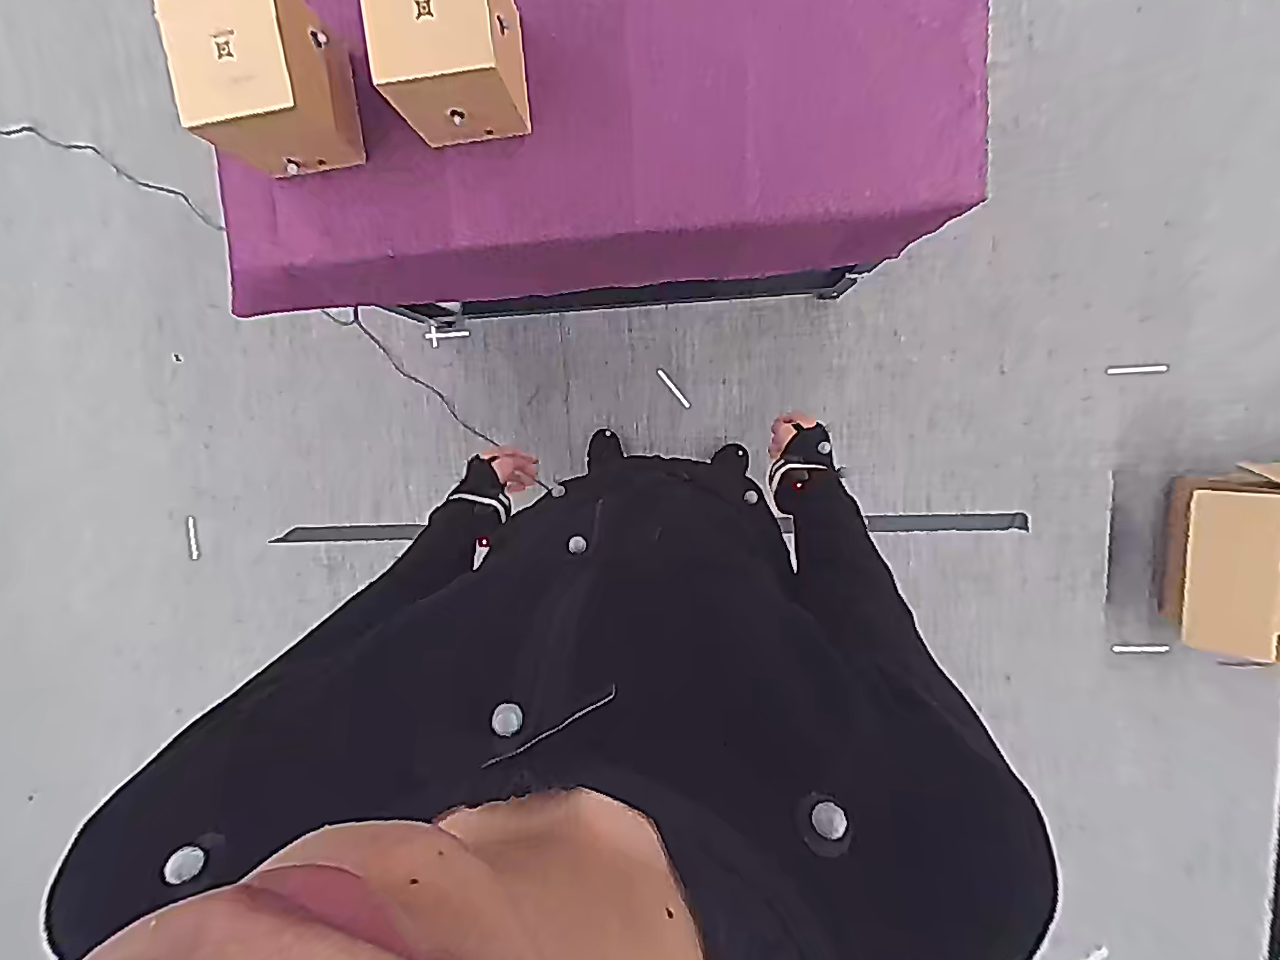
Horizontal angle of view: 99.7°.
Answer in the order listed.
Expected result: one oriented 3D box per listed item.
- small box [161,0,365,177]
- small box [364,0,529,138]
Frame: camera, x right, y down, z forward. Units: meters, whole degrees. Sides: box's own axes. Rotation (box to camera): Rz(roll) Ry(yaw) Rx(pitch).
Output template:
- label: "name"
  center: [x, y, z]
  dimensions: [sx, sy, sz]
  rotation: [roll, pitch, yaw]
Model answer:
- label: "small box"
  center: [-0.534, -0.578, 0.788]
  dimensions: [0.168, 0.176, 0.179]
  rotation: [-7, 96, 5]
- label: "small box"
  center: [-0.263, -0.614, 0.763]
  dimensions: [0.168, 0.176, 0.179]
  rotation: [-4, 96, 5]
